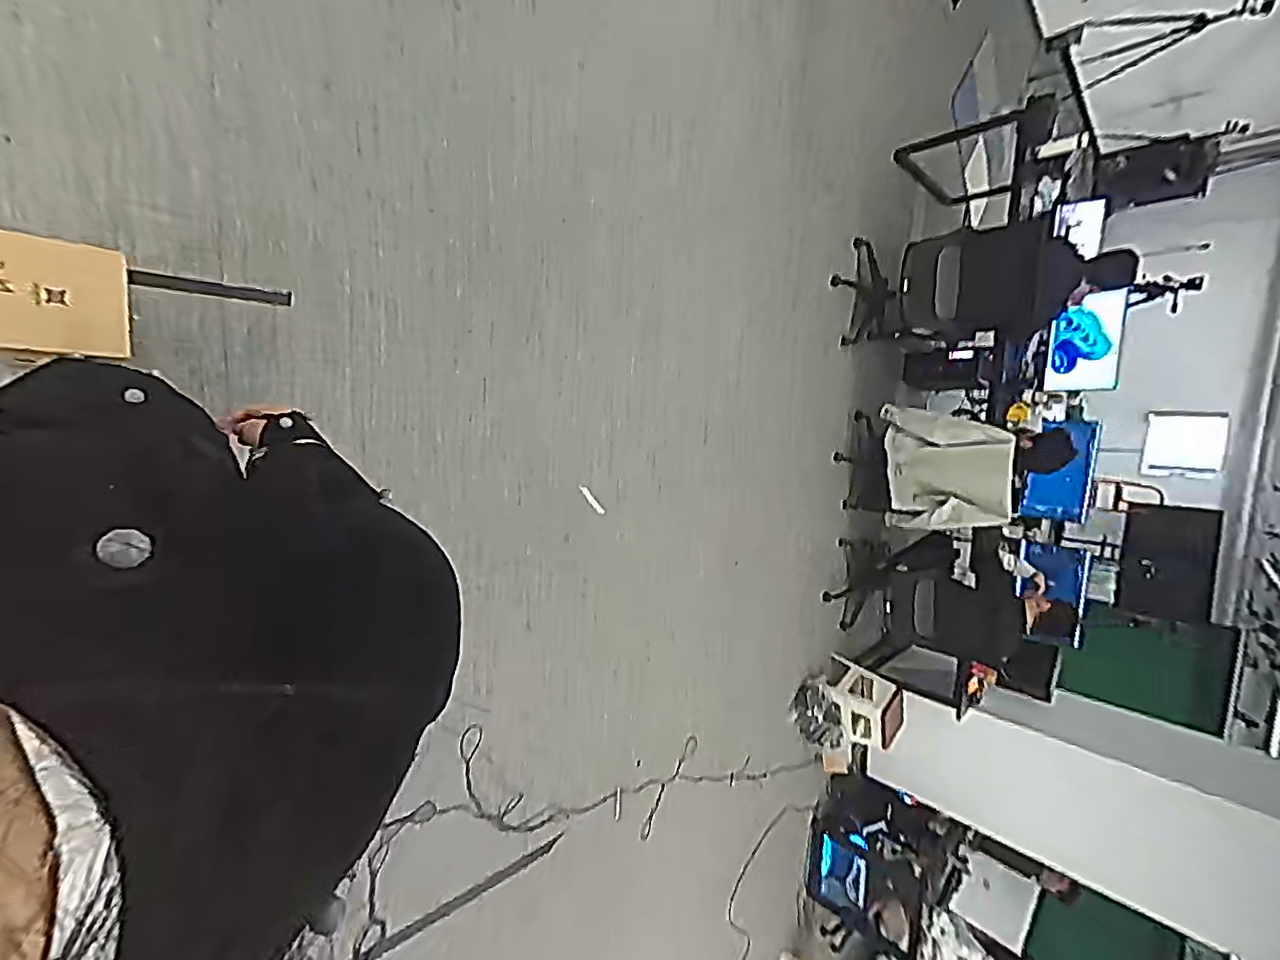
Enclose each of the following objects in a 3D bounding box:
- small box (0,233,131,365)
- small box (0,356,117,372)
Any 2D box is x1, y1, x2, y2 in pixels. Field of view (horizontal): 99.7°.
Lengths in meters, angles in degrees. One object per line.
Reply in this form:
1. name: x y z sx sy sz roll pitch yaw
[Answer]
1. small box: -0.929 -0.275 0.850 0.179 0.176 0.168 -3 97 -45
2. small box: -1.049 -0.289 0.965 0.168 0.176 0.179 -2 98 -45
